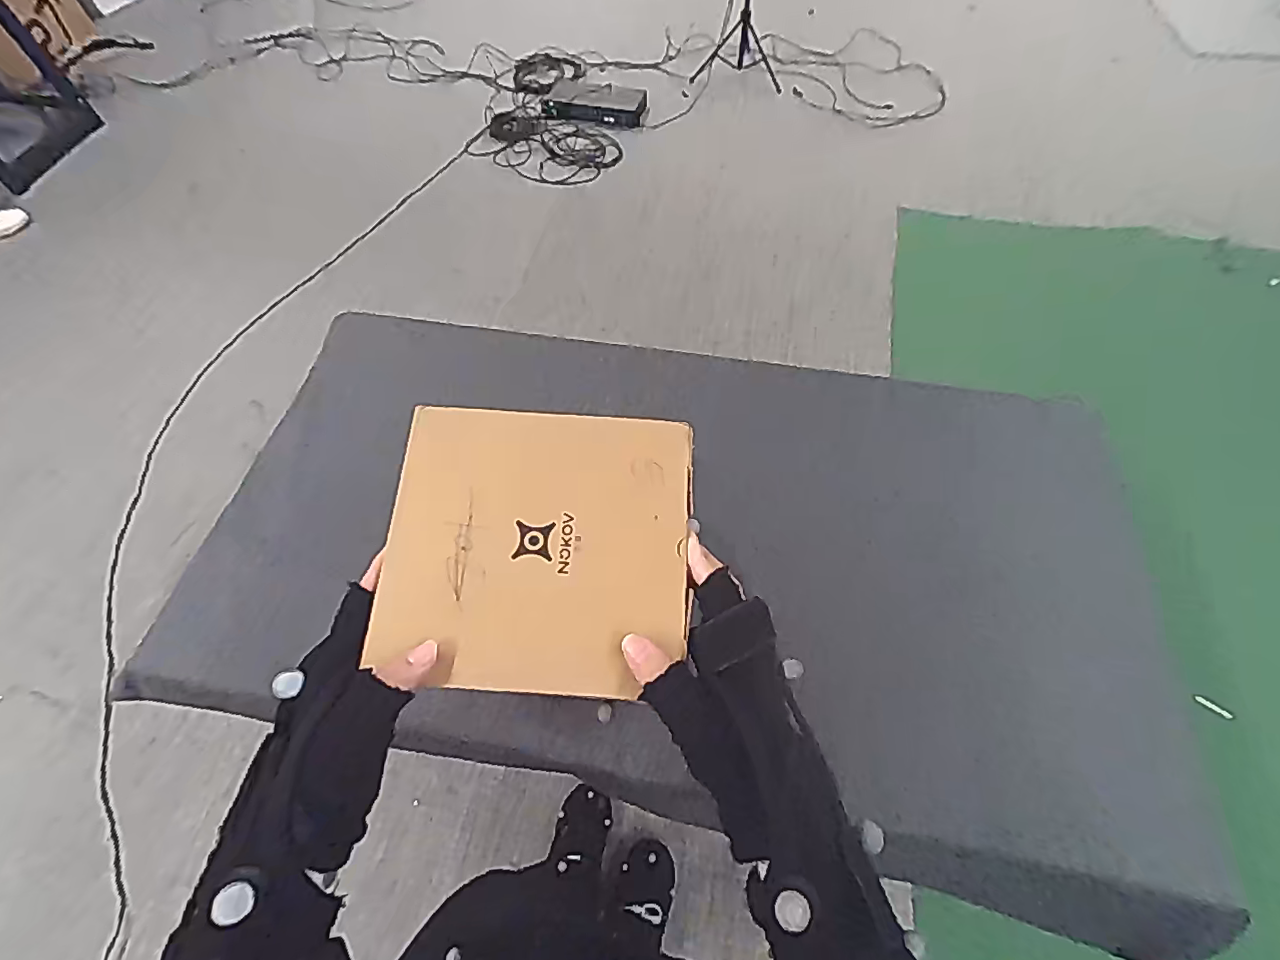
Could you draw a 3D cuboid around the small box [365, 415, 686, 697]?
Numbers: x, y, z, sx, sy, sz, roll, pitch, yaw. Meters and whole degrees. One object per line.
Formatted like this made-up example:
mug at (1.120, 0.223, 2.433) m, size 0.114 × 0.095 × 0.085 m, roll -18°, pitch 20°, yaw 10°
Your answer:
small box at (-0.062, 0.067, 0.396) m, size 0.179 × 0.176 × 0.168 m, roll 2°, pitch 68°, yaw 0°
